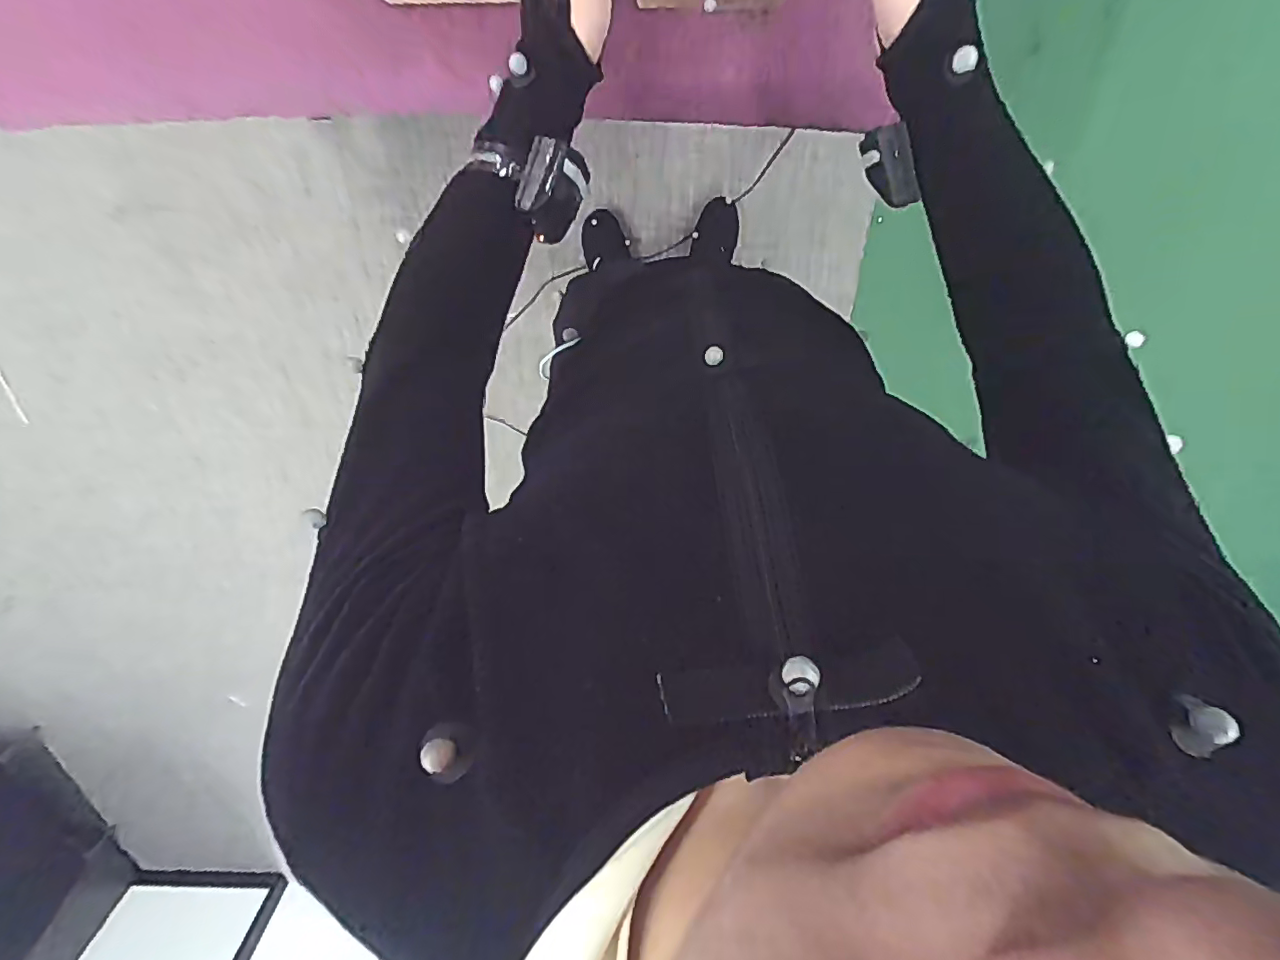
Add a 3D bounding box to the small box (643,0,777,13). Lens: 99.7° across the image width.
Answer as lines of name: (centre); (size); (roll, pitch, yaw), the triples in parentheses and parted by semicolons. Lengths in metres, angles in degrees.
small box: (0.075, -0.584, 0.514); (0.168, 0.176, 0.179); (1, 119, 1)
